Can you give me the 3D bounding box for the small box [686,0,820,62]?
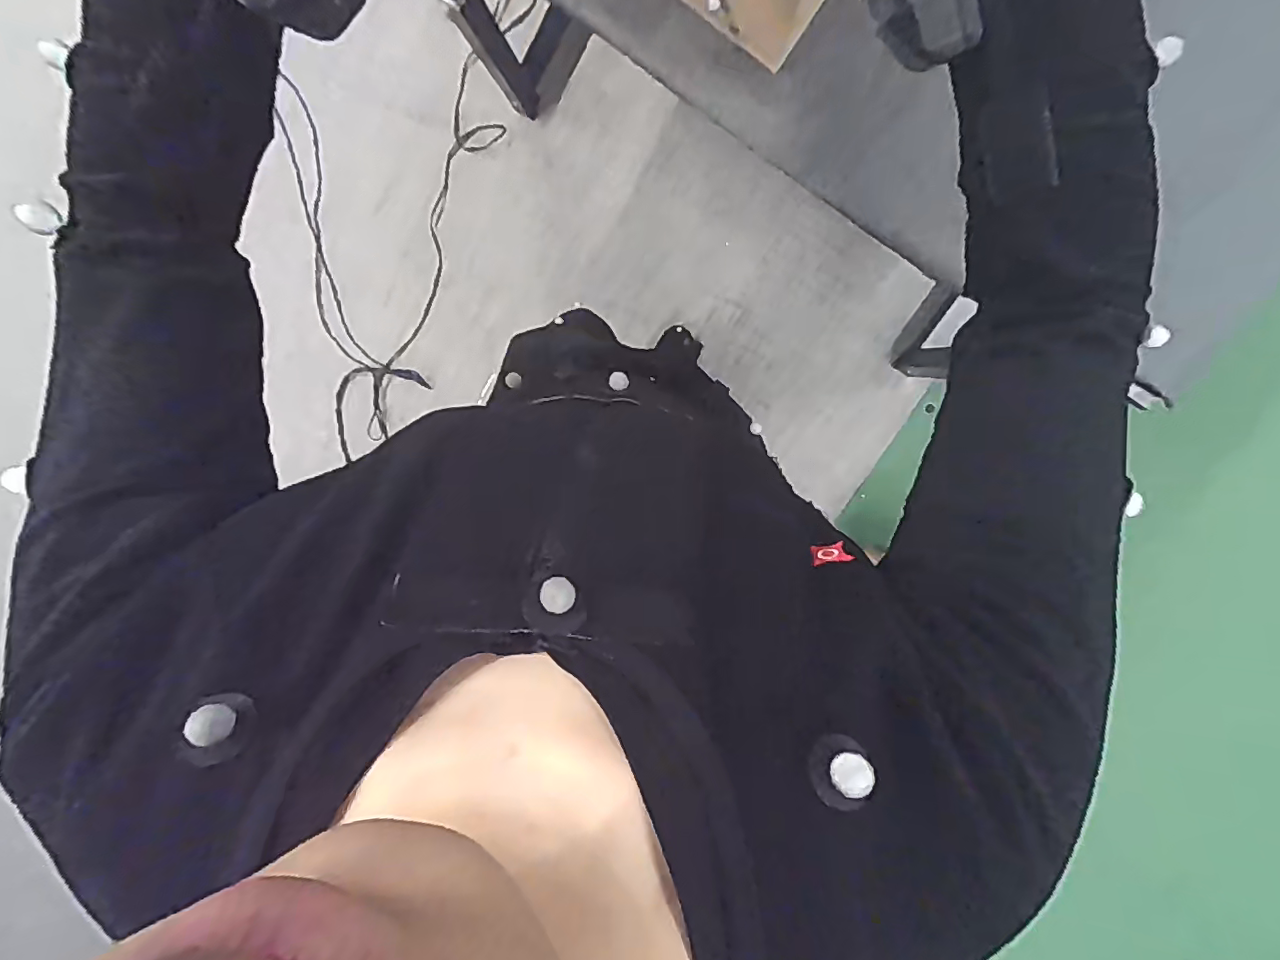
[{"bbox_3d":[0.129,-0.559,0.506,0.168,0.176,0.179,35,102,-4],"label":"small box"}]
